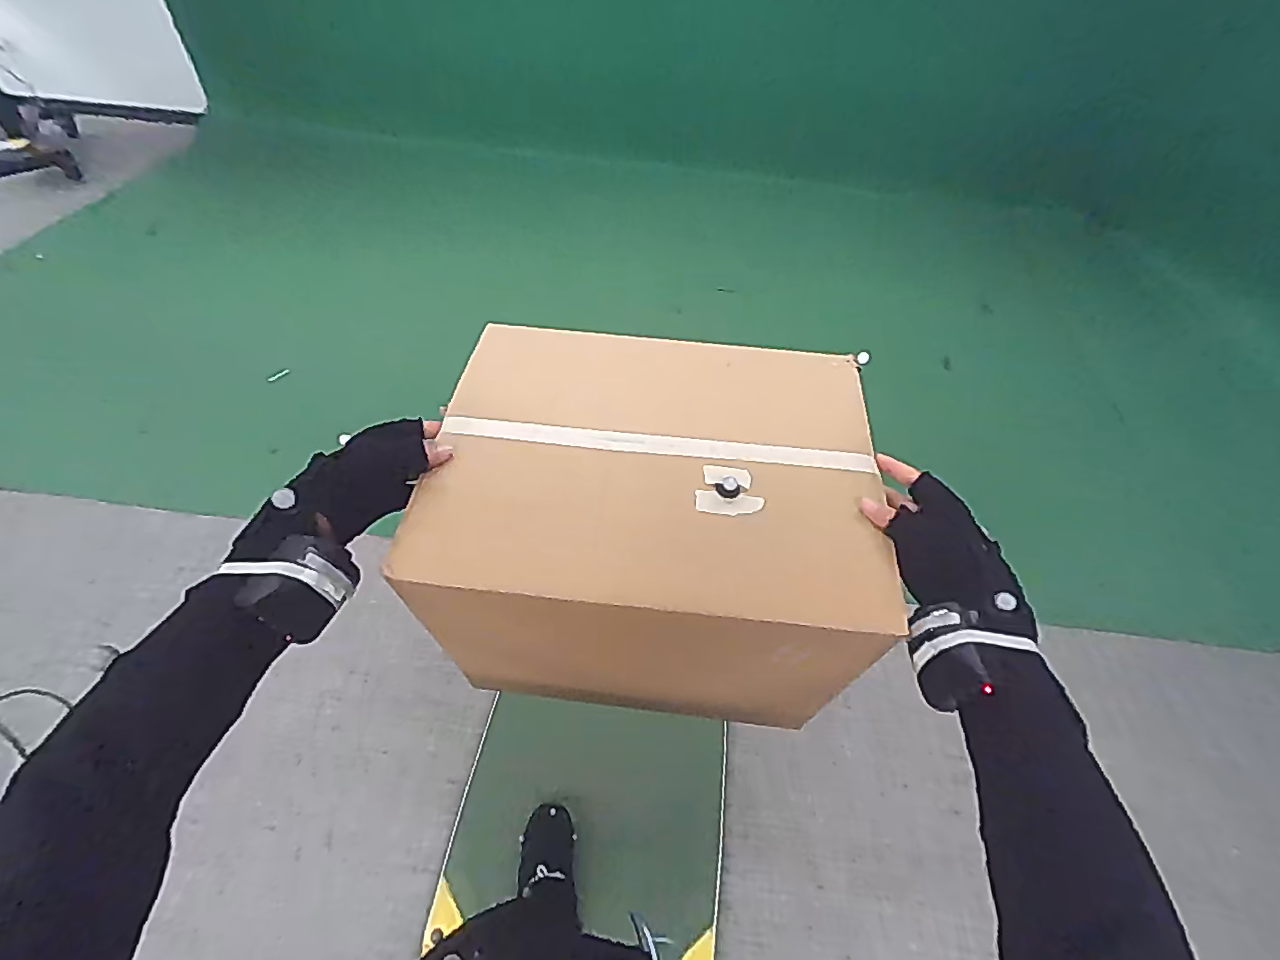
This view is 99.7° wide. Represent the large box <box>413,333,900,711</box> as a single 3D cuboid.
[{"bbox_3d":[0.017,0.059,0.639,0.408,0.320,0.320,6,55,2],"label":"large box"}]
